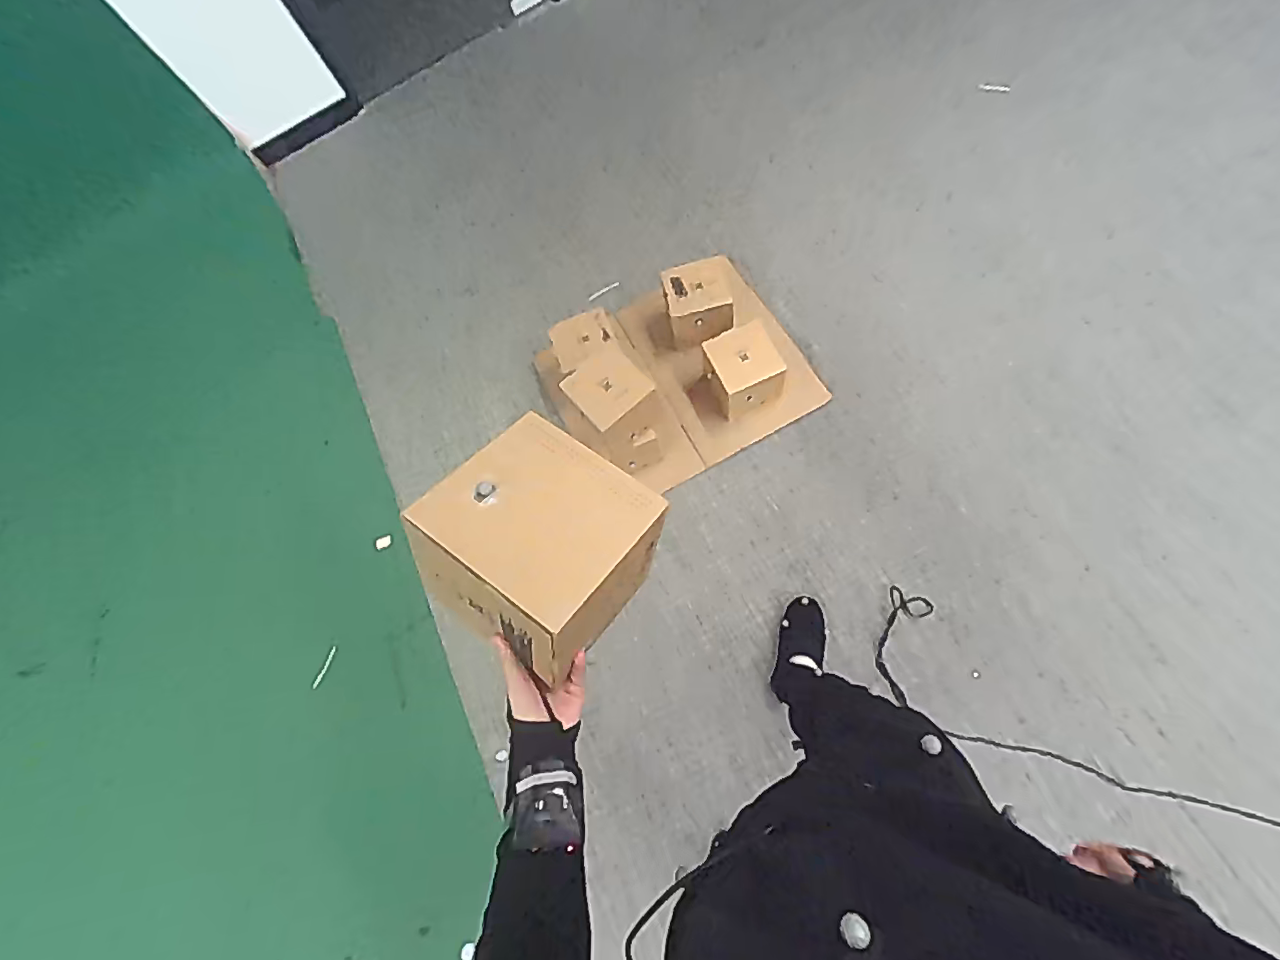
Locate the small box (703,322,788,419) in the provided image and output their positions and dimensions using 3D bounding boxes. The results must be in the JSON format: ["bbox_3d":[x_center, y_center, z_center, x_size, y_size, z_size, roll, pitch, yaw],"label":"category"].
[{"bbox_3d":[0.285,-0.286,1.471,0.168,0.176,0.179,-24,68,1],"label":"small box"}]

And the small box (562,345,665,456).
[{"bbox_3d":[-0.059,-0.187,1.327,0.168,0.176,0.179,-40,69,-4],"label":"small box"}]

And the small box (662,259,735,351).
[{"bbox_3d":[0.173,-0.497,1.563,0.179,0.176,0.168,-13,69,4],"label":"small box"}]

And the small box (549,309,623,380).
[{"bbox_3d":[-0.139,-0.355,1.576,0.179,0.176,0.168,-22,68,3],"label":"small box"}]

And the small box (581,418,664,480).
[{"bbox_3d":[-0.044,-0.116,1.475,0.168,0.176,0.179,-23,68,1],"label":"small box"}]
